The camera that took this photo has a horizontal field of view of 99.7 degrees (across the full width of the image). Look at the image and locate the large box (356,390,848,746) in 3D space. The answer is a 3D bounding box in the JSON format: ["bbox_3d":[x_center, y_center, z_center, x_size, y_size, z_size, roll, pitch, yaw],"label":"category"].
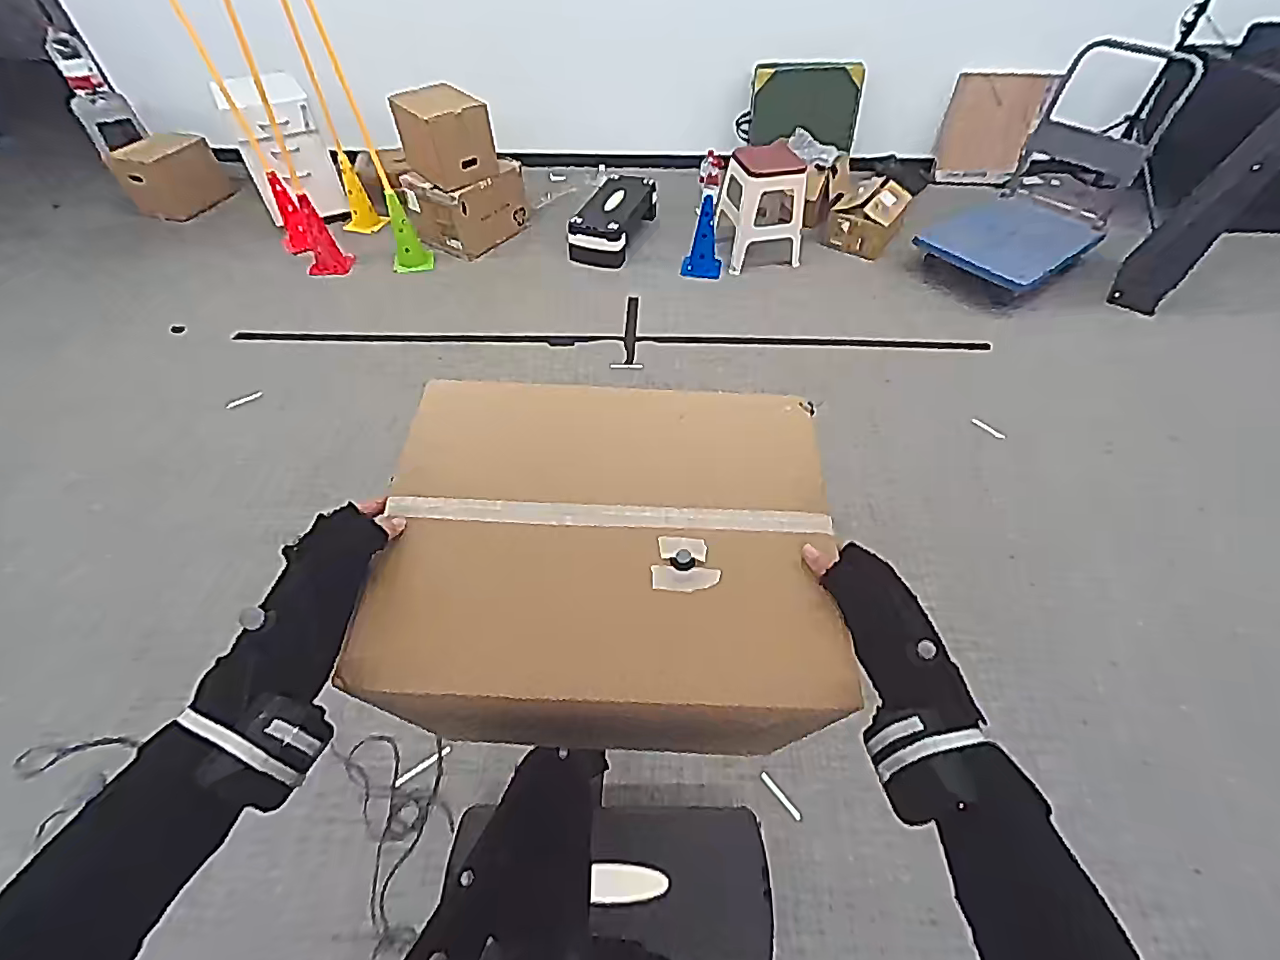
[{"bbox_3d":[-0.032,0.118,0.635,0.408,0.320,0.320,3,57,0],"label":"large box"}]
